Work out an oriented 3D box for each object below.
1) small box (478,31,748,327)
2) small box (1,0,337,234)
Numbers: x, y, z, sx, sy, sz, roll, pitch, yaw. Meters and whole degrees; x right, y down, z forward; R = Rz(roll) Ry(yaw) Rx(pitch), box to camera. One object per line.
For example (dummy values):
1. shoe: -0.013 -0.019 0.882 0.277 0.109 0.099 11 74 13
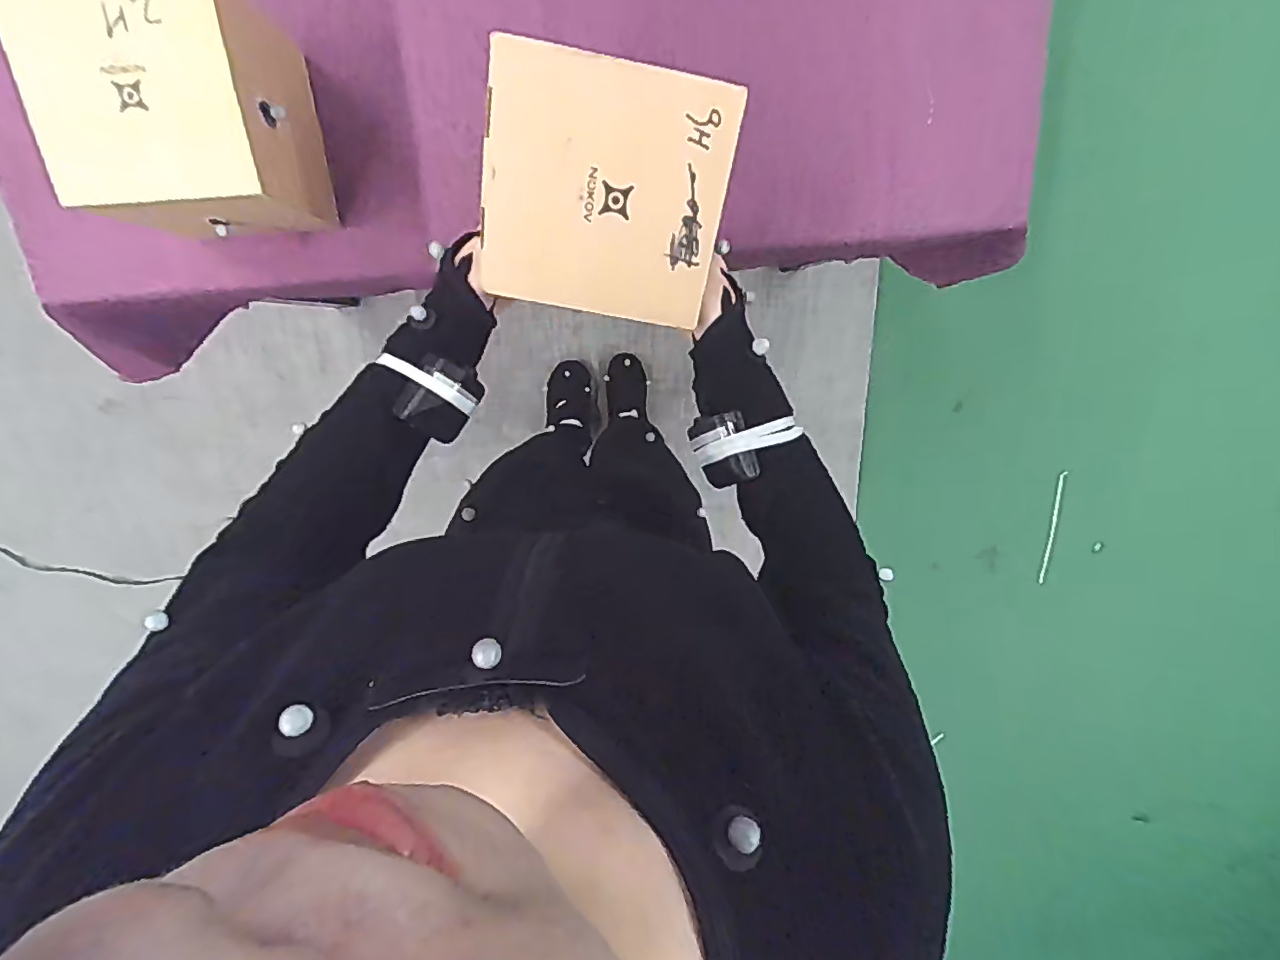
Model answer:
1. small box: -0.025 -0.243 0.466 0.179 0.176 0.168 10 115 -4
2. small box: -0.423 -0.344 0.524 0.168 0.176 0.179 -6 106 -5
